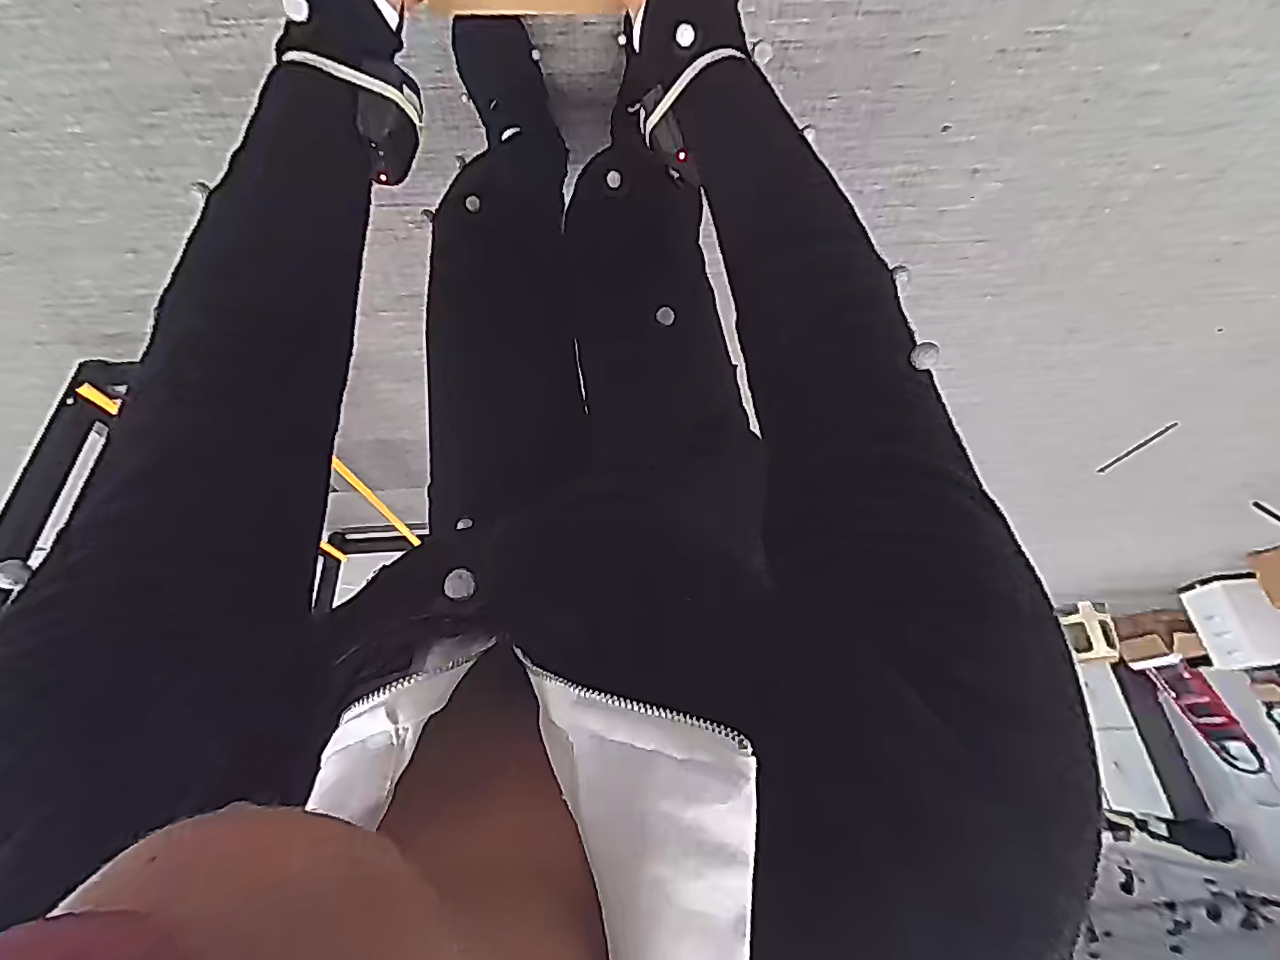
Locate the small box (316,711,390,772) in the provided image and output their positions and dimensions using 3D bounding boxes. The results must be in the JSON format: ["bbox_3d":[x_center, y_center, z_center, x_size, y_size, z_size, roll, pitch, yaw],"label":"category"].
[{"bbox_3d":[-0.932,0.844,1.748,0.168,0.176,0.179,-4,152,0],"label":"small box"}]

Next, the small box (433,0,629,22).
[{"bbox_3d":[-0.094,-0.503,0.418,0.168,0.176,0.179,-4,157,-5],"label":"small box"}]

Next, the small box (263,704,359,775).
[{"bbox_3d":[-0.933,0.745,1.557,0.179,0.176,0.168,-3,153,-2],"label":"small box"}]
